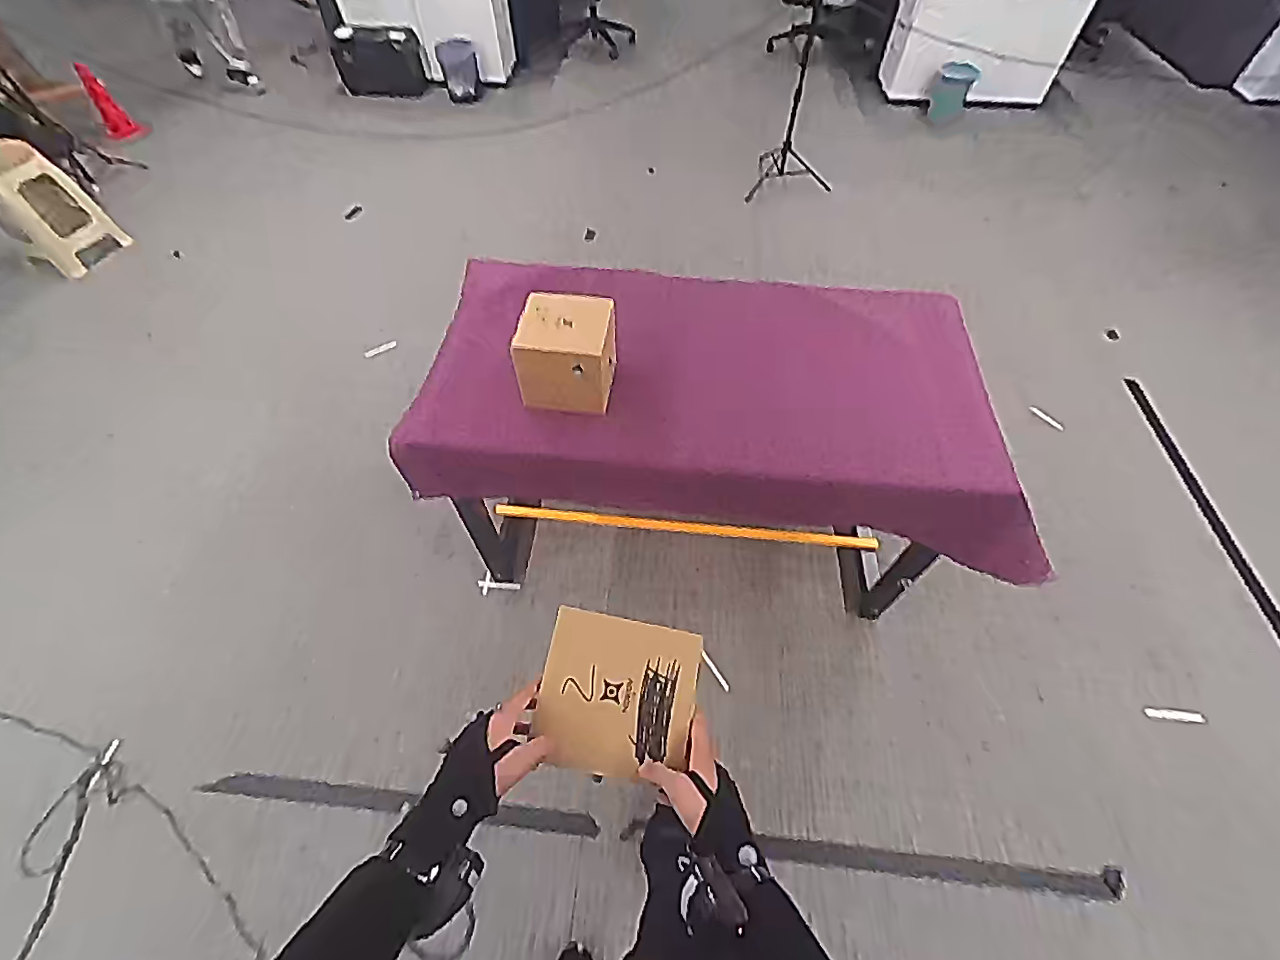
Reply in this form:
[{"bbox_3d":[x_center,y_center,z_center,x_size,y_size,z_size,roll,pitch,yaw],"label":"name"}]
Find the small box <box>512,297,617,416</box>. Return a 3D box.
[{"bbox_3d":[-0.145,-0.250,1.114,0.179,0.176,0.168,7,55,4],"label":"small box"}]
